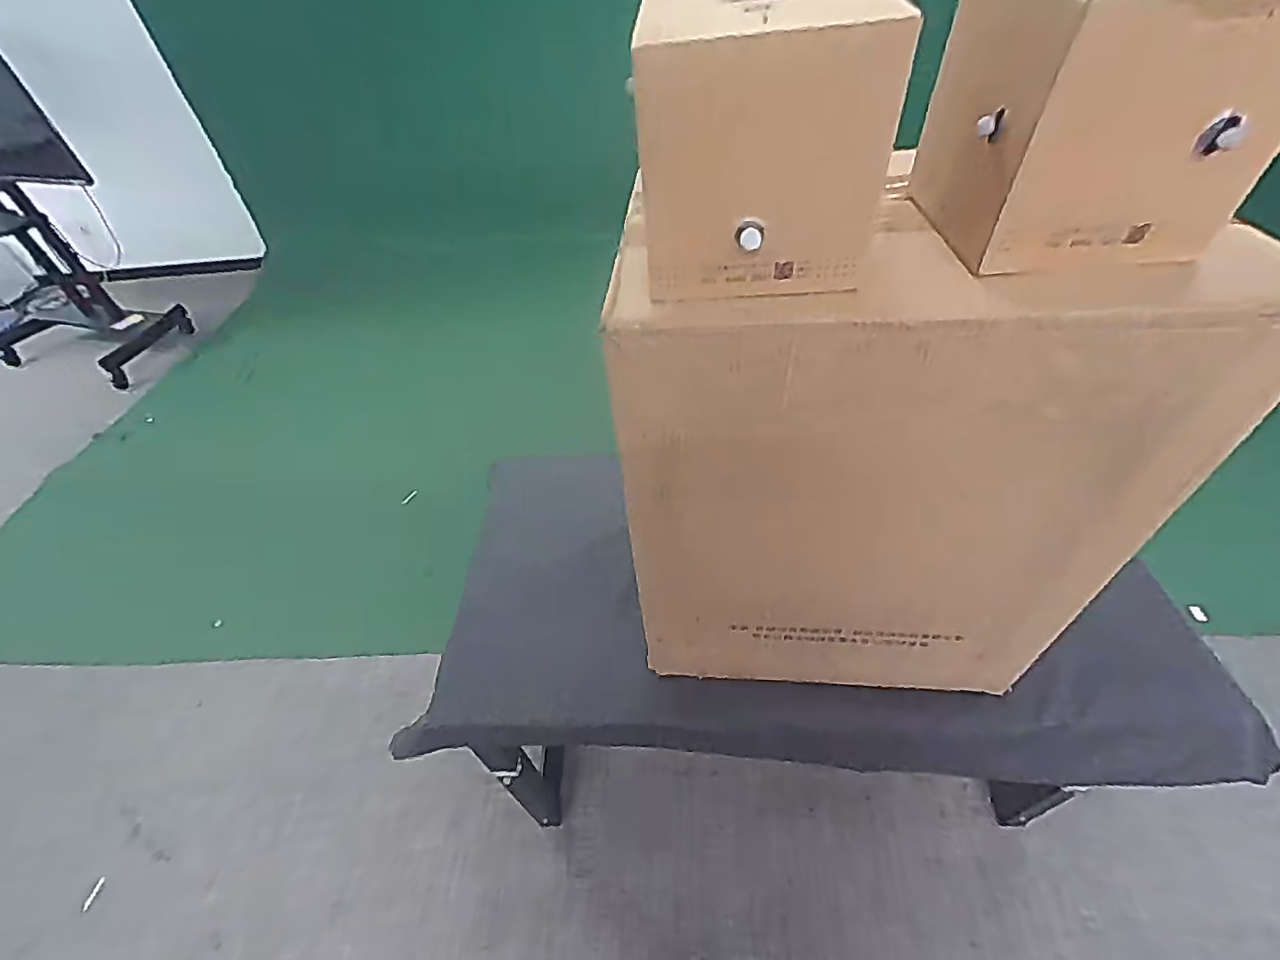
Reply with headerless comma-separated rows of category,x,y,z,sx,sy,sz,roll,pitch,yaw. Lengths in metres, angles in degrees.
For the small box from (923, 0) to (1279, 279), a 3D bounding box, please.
small box,0.348,-0.267,0.407,0.168,0.176,0.179,-1,48,1
